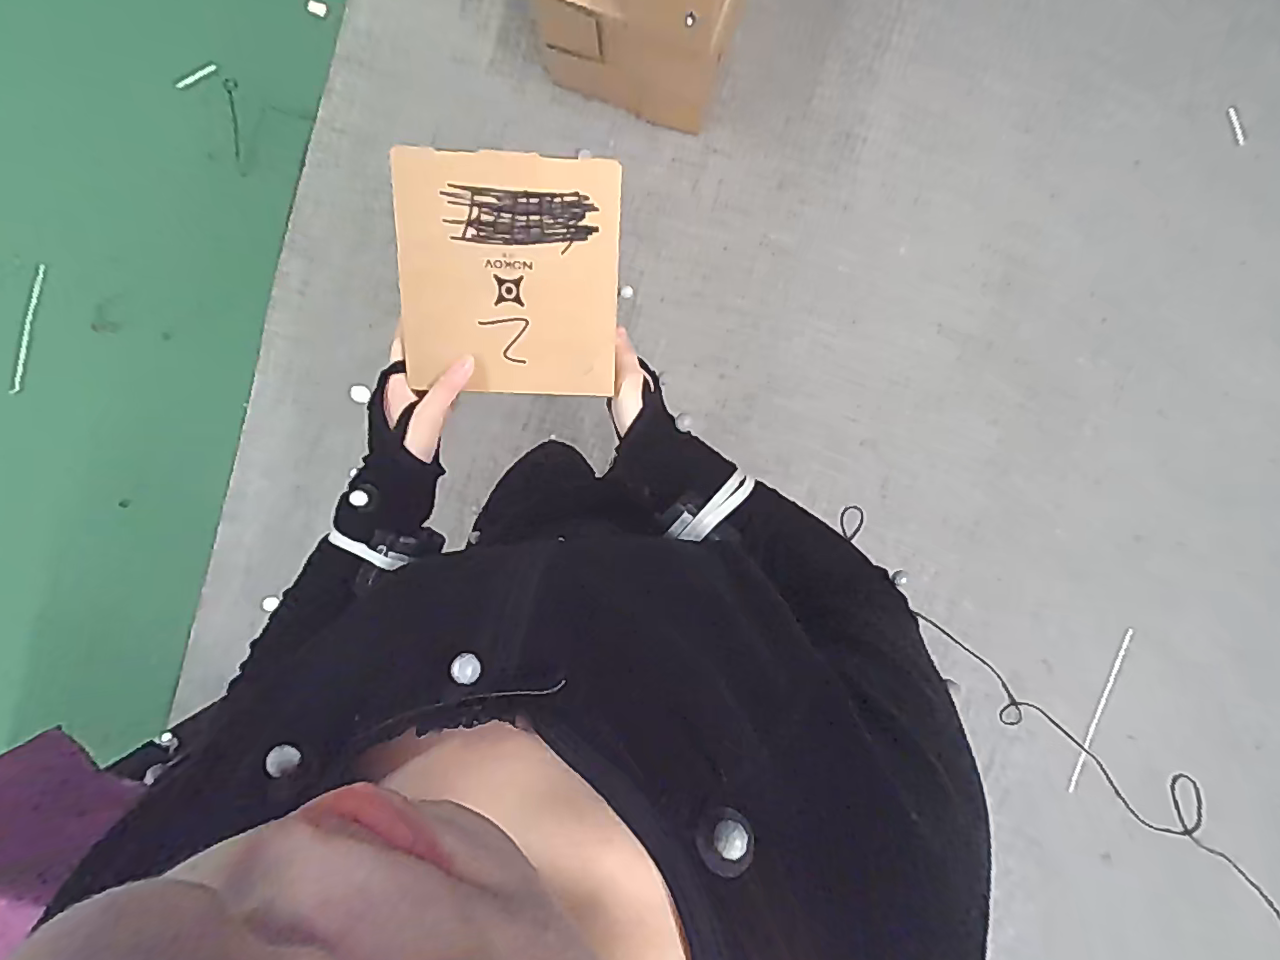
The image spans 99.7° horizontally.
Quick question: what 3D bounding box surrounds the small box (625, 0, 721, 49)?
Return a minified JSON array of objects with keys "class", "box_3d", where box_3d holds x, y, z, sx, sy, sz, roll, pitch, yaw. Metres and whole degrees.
[{"class":"small box","box_3d":[0.075,-0.968,1.019,0.179,0.176,0.168,18,93,0]}]
